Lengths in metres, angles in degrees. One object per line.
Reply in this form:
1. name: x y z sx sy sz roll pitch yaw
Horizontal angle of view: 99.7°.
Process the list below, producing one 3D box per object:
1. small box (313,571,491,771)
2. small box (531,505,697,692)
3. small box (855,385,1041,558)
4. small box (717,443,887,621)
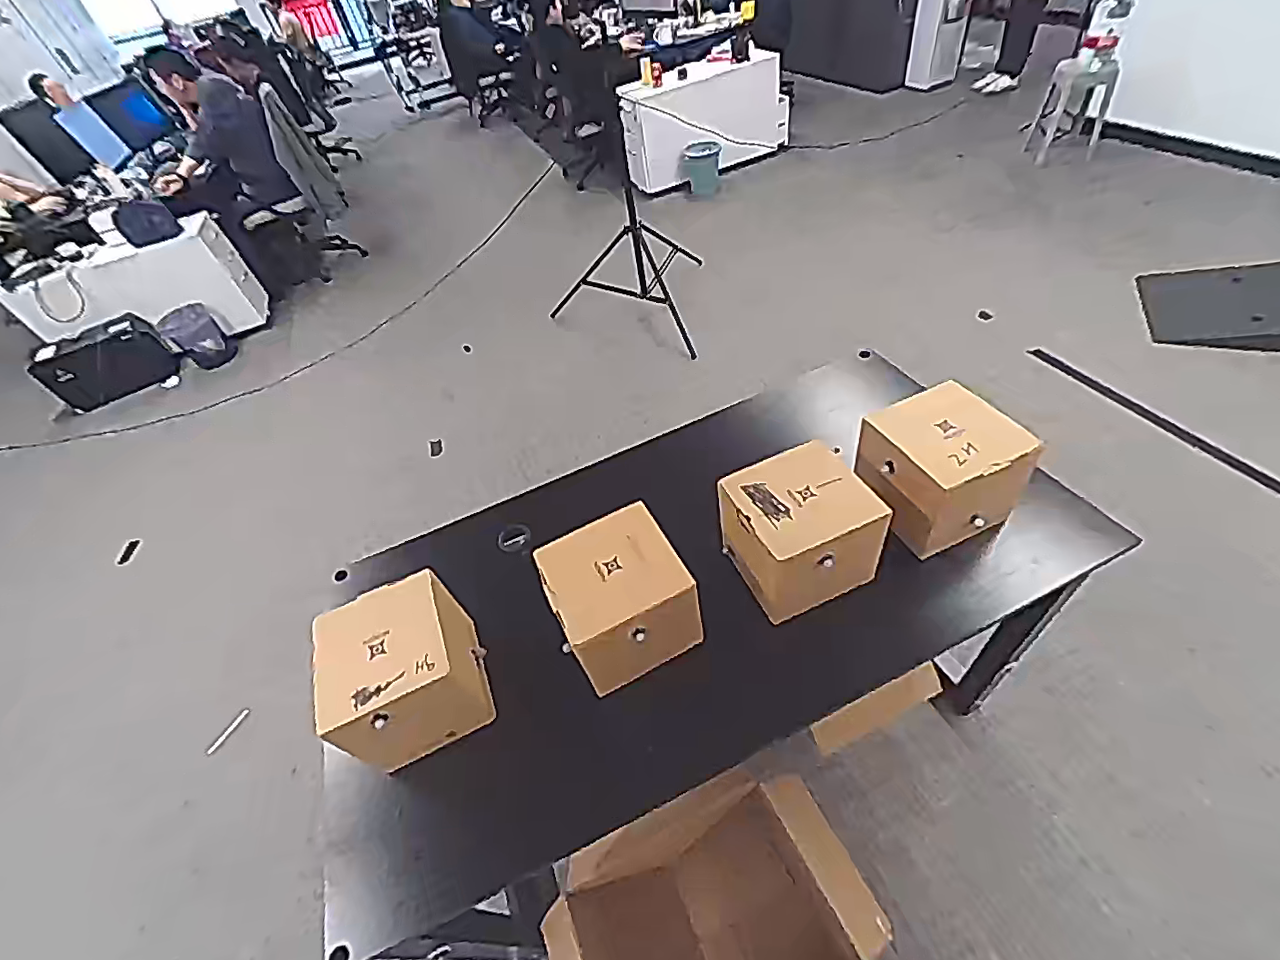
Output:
1. small box: -0.327 0.267 0.756 0.168 0.176 0.179 -24 47 -10
2. small box: -0.031 0.174 0.781 0.179 0.176 0.168 -25 49 -12
3. small box: 0.457 -0.012 0.840 0.168 0.176 0.179 -23 47 -7
4. small box: 0.231 0.081 0.806 0.179 0.176 0.168 -21 47 -9
